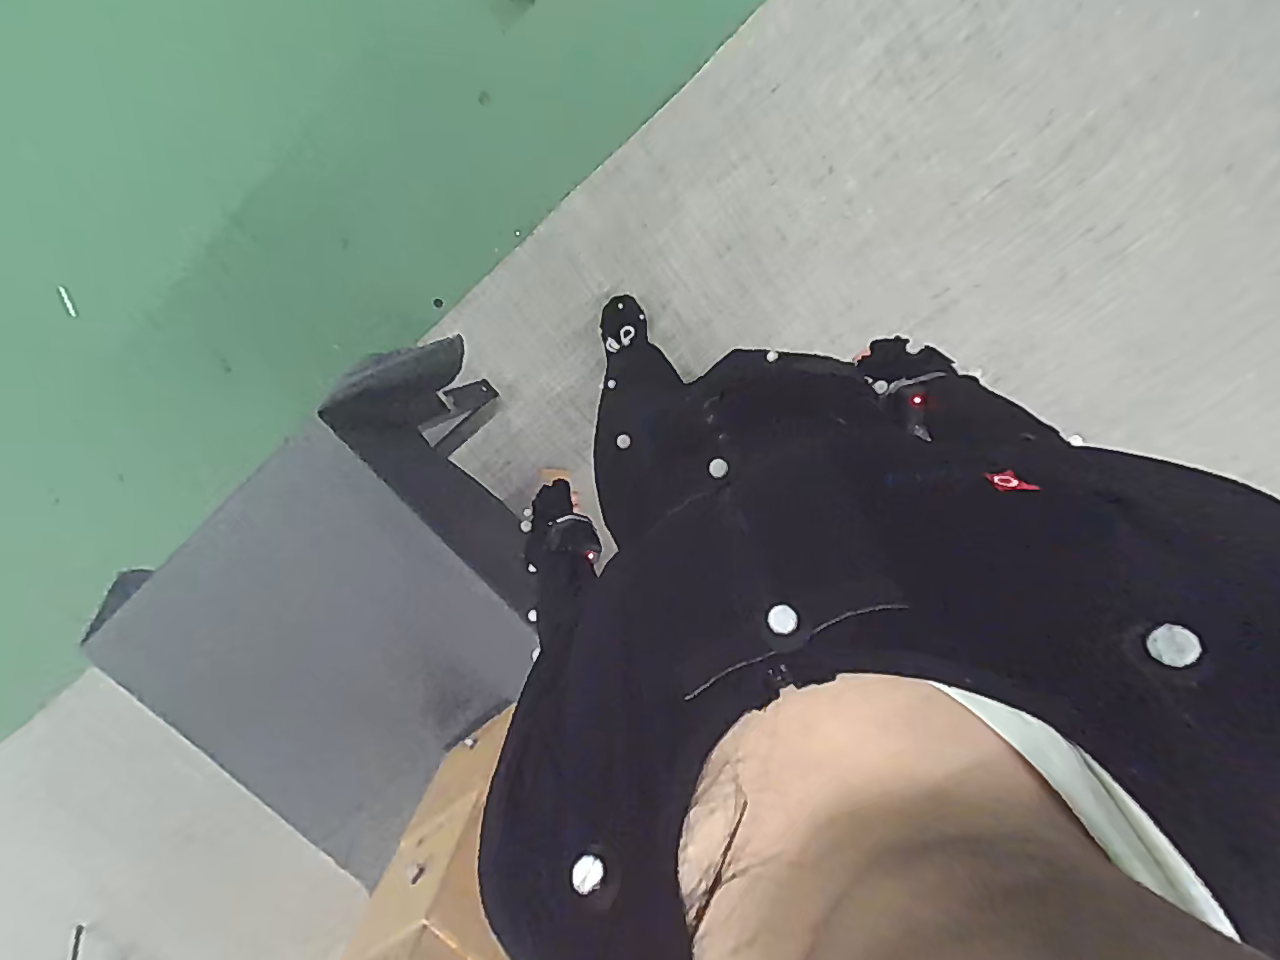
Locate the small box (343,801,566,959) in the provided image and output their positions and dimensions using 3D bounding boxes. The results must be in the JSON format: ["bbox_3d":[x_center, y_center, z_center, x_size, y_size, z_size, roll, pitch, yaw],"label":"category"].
[{"bbox_3d":[-0.214,0.529,0.653,0.168,0.176,0.179,-40,100,12],"label":"small box"}]

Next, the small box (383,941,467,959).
[{"bbox_3d":[-0.226,0.578,0.496,0.168,0.176,0.179,-38,99,12],"label":"small box"}]
